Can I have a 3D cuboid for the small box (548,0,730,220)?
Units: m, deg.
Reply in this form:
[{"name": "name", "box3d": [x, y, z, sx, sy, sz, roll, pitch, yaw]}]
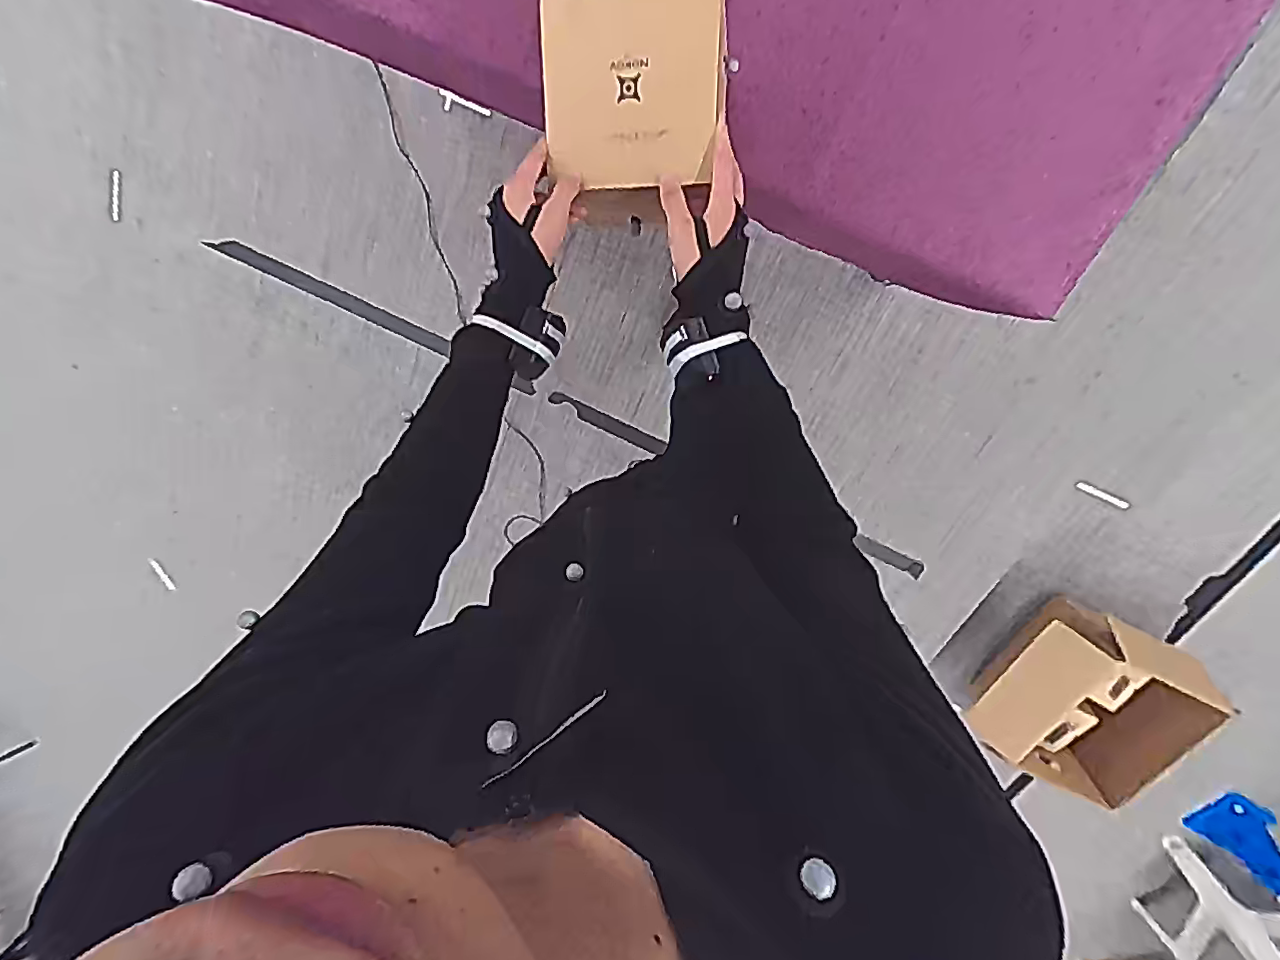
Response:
[{"name": "small box", "box3d": [0.008, -0.390, 0.571, 0.168, 0.176, 0.179, 3, 103, 10]}]
